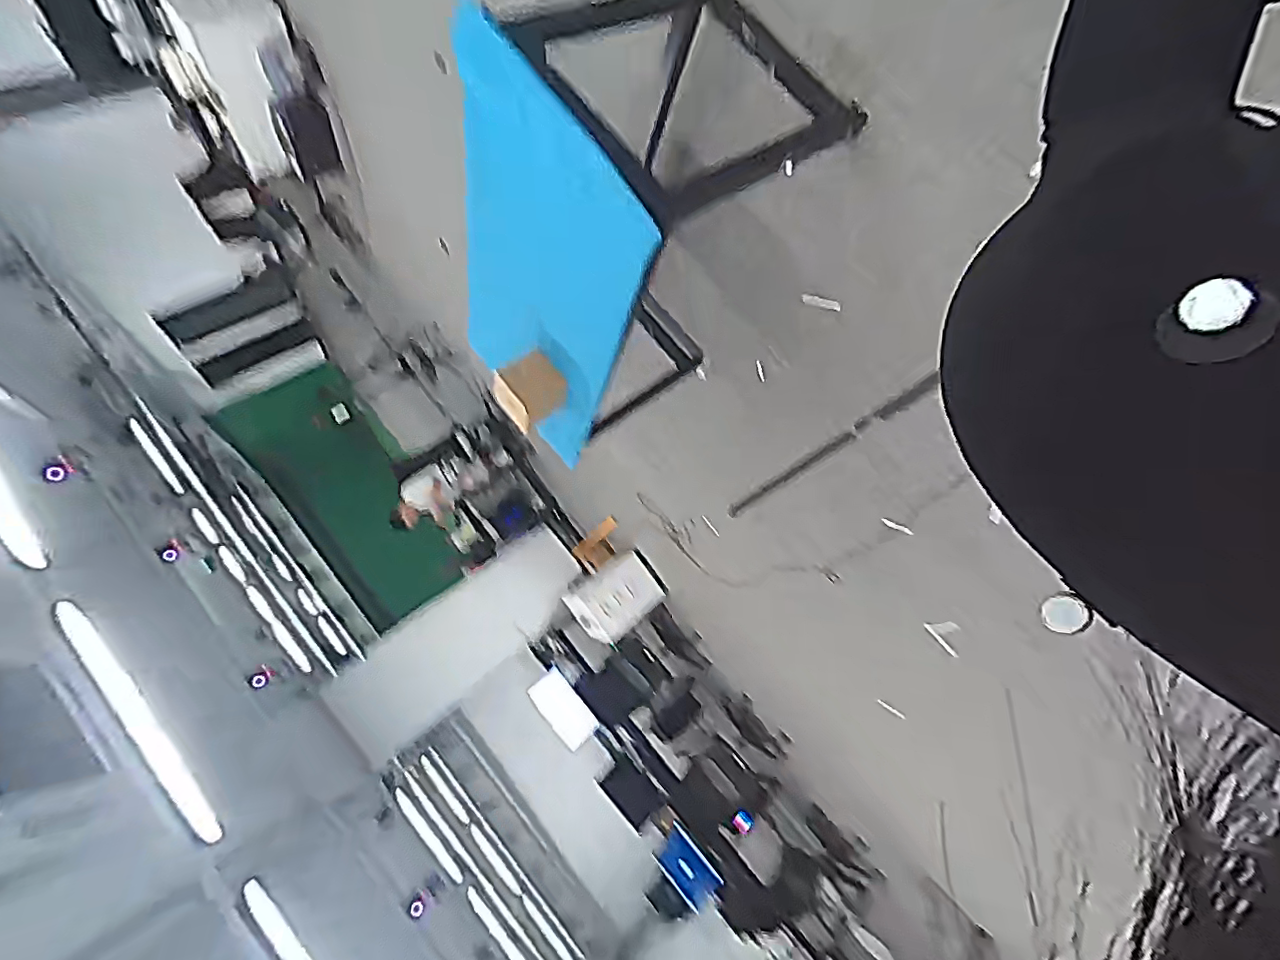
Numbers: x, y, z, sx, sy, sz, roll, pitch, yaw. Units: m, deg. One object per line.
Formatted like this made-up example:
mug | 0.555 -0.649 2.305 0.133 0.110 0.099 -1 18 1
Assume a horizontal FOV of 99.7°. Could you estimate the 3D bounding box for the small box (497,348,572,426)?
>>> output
small box | -0.358 -0.320 1.820 0.179 0.176 0.168 49 156 3
